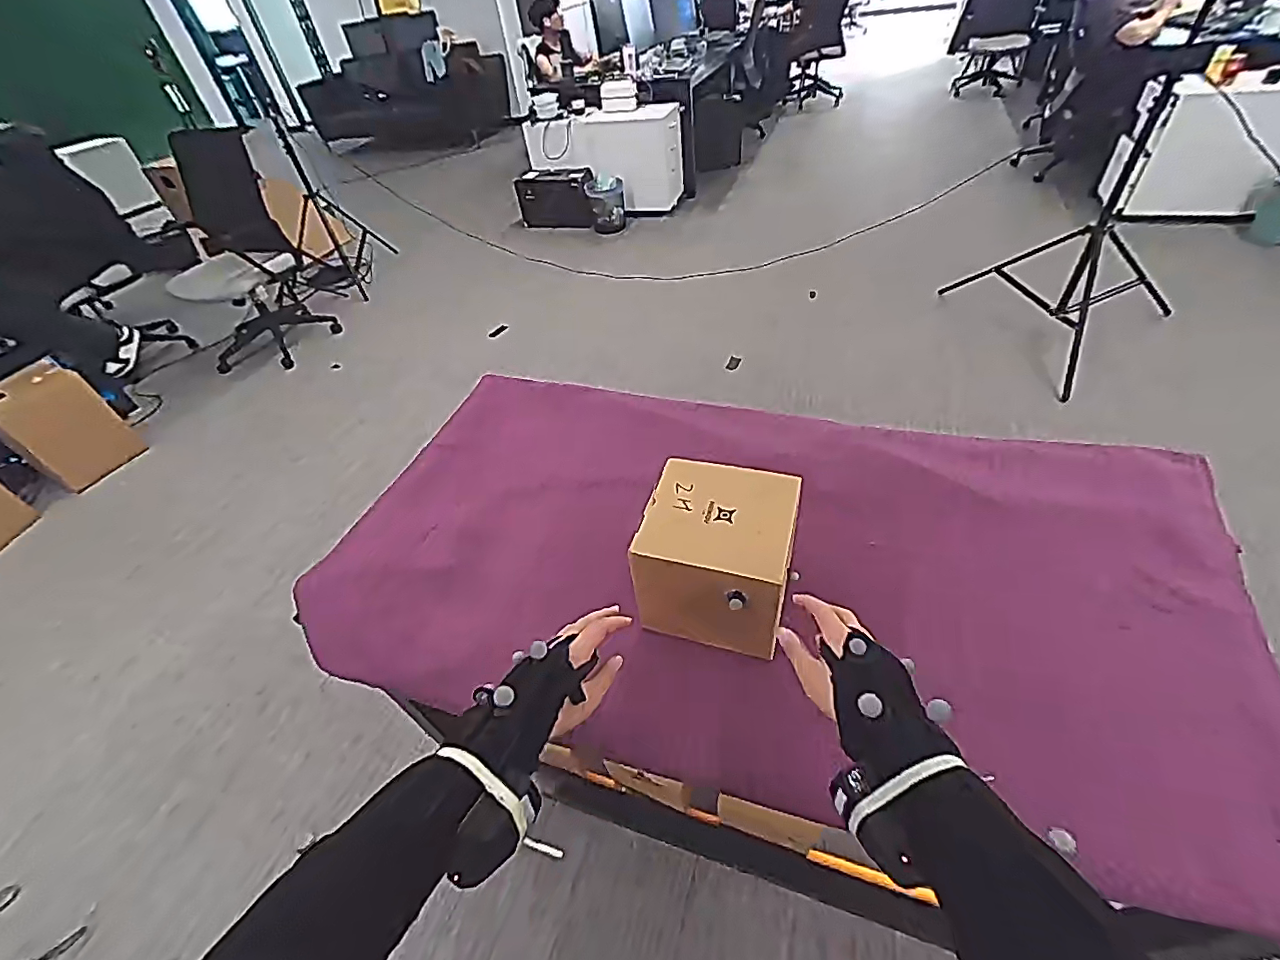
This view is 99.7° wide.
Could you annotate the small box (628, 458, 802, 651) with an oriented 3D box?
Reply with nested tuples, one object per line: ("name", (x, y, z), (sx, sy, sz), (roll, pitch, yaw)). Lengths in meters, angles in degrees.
("small box", (0.101, 0.097, 0.697), (0.179, 0.176, 0.168), (9, 46, 18))
